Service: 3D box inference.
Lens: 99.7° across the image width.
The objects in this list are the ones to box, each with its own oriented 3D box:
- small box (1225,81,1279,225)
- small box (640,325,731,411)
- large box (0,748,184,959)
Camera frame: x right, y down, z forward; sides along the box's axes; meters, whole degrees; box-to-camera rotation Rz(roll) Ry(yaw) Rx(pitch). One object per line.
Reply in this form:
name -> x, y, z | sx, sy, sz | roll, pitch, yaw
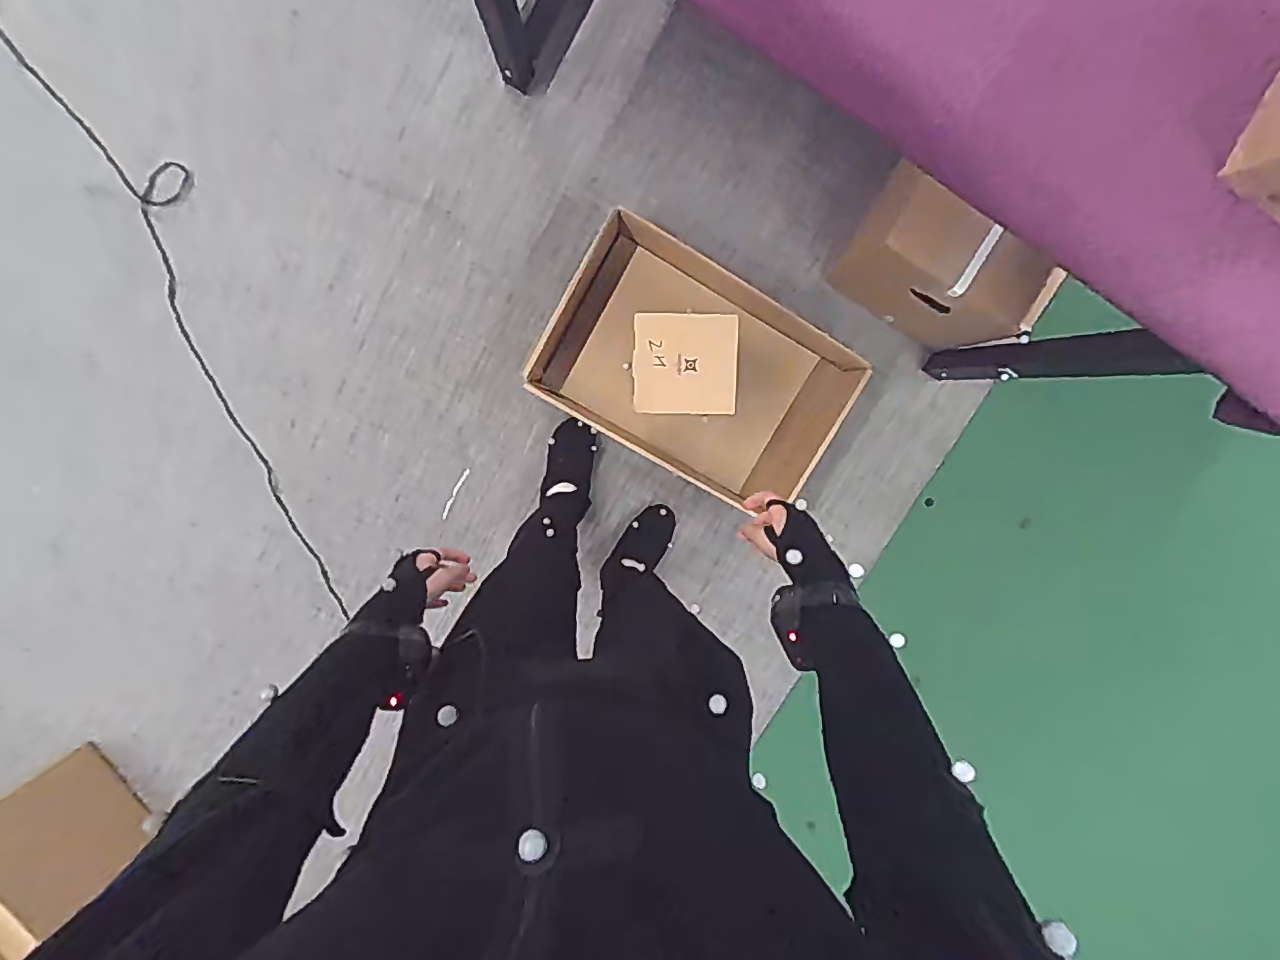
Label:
small box -> 0.680, -0.326, 0.455 | 0.168, 0.176, 0.179 | 27, 96, -5
small box -> 0.089, -0.230, 1.135 | 0.179, 0.176, 0.168 | -1, 99, -2
large box -> -1.408, 0.931, 1.245 | 0.320, 0.320, 0.408 | -30, 98, 2
